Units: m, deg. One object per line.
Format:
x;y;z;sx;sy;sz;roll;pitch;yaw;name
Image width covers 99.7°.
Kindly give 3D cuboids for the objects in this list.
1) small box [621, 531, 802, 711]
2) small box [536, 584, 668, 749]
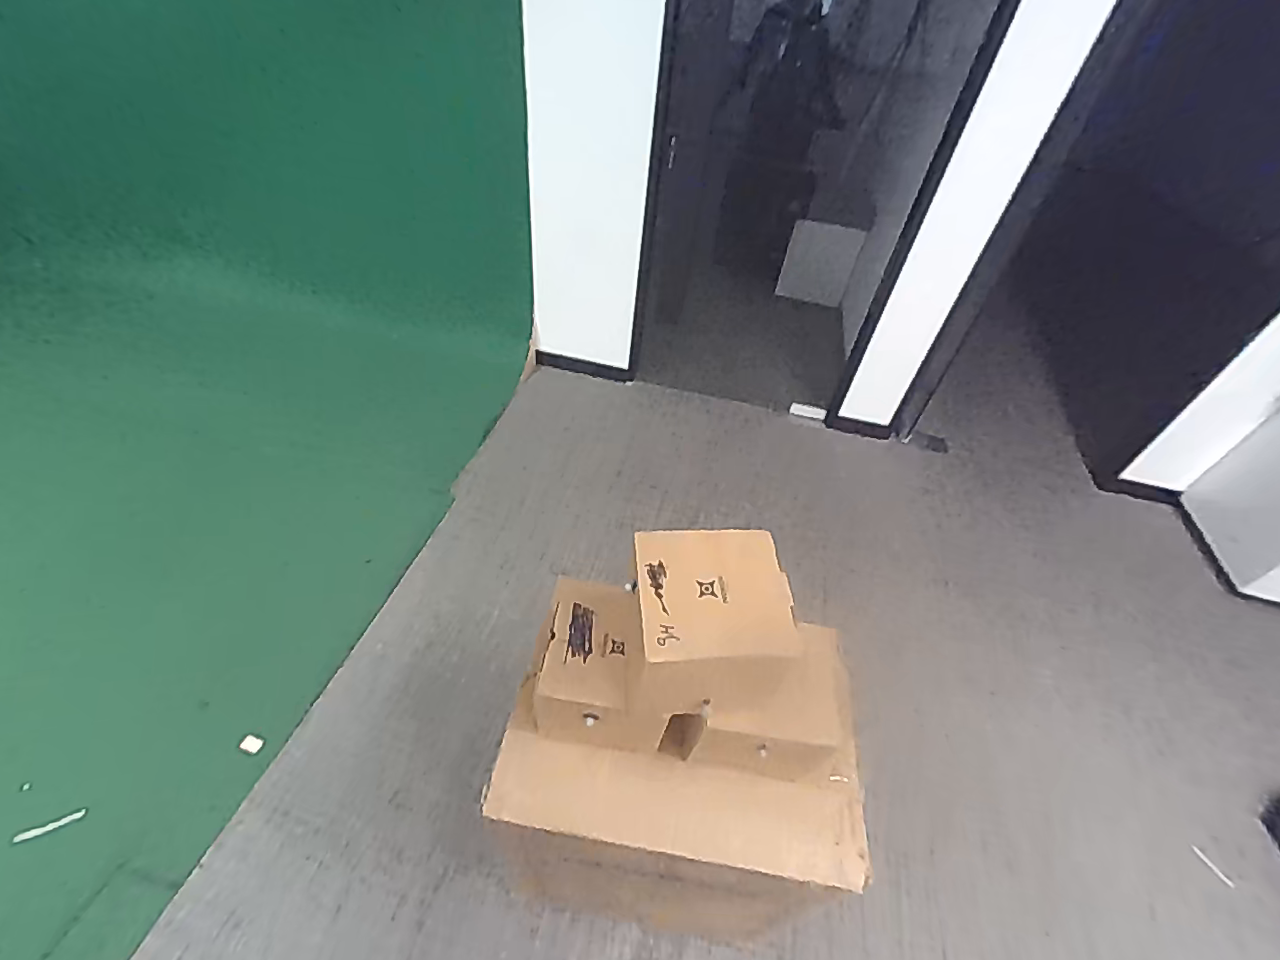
0.075;0.180;0.681;0.179;0.176;0.168;2;49;-8;small box
-0.046;0.278;0.797;0.179;0.176;0.168;10;48;0;small box
